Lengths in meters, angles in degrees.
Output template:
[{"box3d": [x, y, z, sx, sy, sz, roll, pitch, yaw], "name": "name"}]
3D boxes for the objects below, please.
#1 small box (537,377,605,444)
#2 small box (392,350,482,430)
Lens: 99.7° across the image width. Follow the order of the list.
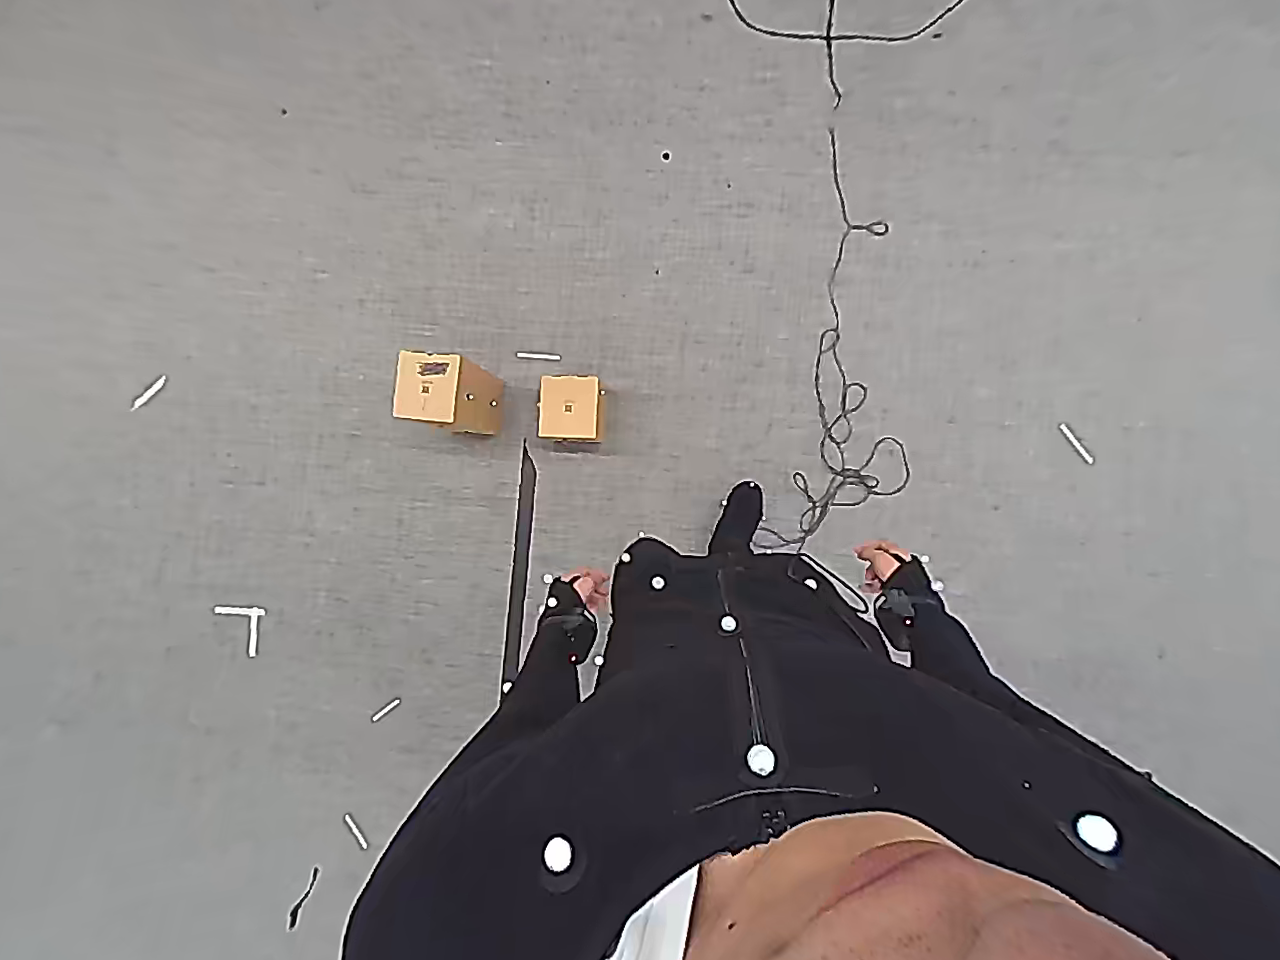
[{"box3d": [-0.198, -0.201, 1.597, 0.168, 0.176, 0.179, 2, 88, 4], "name": "small box"}, {"box3d": [-0.540, -0.236, 1.457, 0.168, 0.176, 0.179, 6, 90, 5], "name": "small box"}]
